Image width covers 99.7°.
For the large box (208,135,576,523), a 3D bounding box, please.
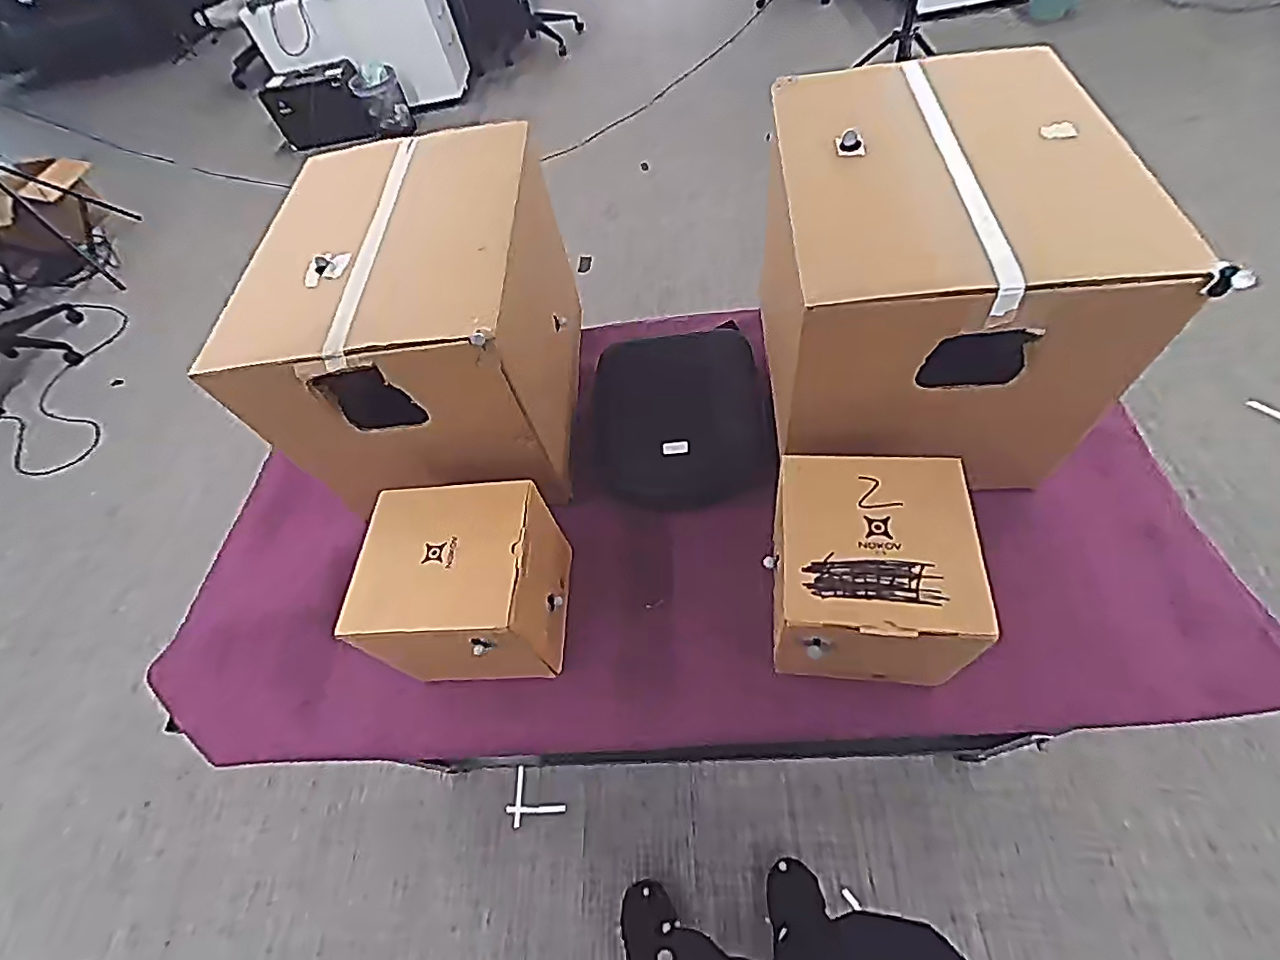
[{"bbox_3d":[-0.271,-0.195,0.749,0.320,0.320,0.408,-7,59,6],"label":"large box"}]
